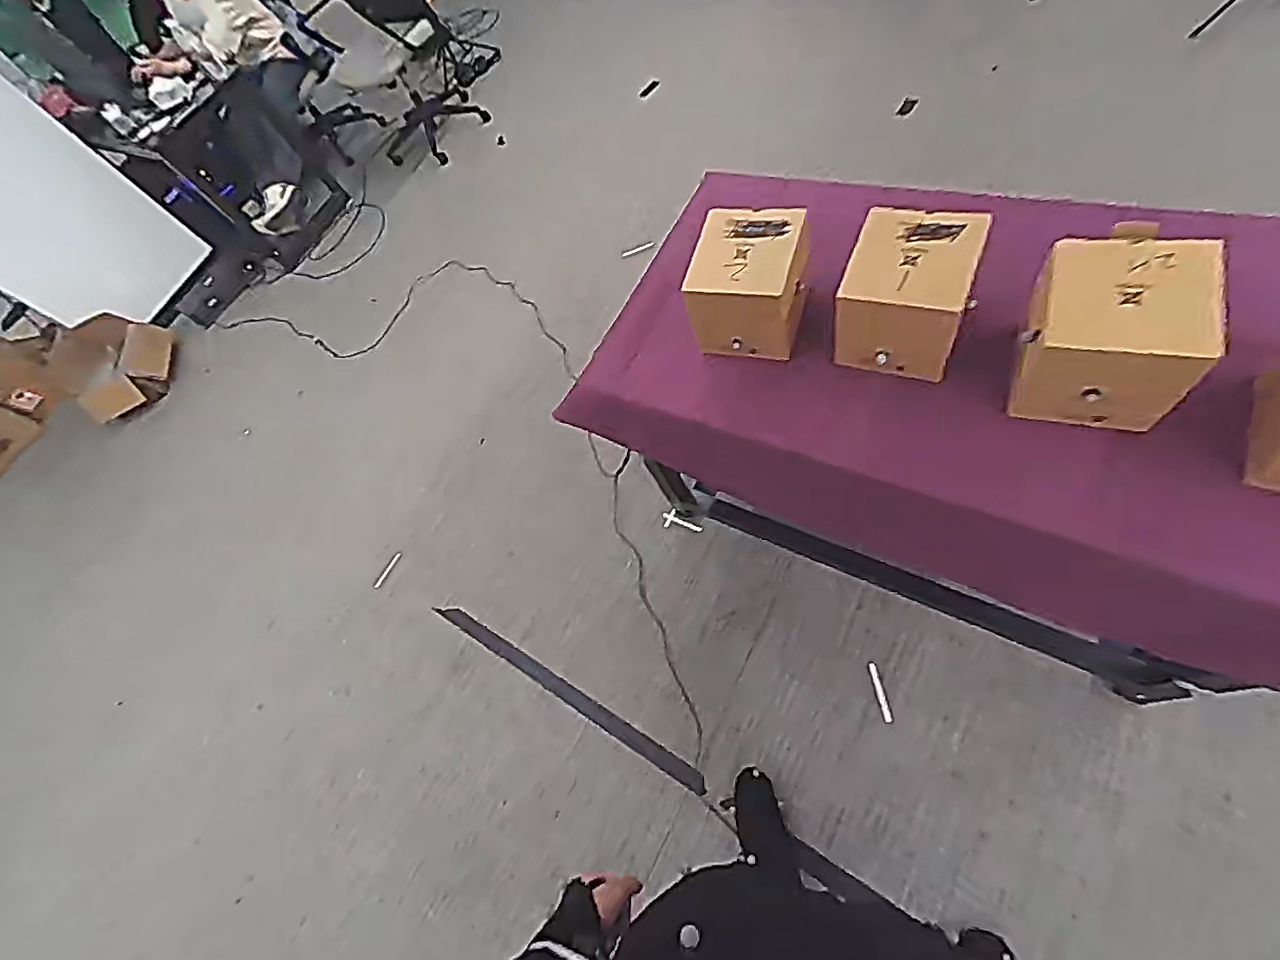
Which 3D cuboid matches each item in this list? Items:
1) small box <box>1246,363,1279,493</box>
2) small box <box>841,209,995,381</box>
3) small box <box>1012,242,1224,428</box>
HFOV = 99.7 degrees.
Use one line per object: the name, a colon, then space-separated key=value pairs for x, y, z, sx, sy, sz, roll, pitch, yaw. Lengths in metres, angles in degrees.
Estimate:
small box: x=0.837 y=-0.078 z=0.598 sx=0.168 sy=0.176 sz=0.179 roll=18 pitch=72 yaw=27
small box: x=0.420 y=-0.285 z=0.843 sx=0.168 sy=0.176 sz=0.179 roll=18 pitch=73 yaw=26
small box: x=0.623 y=-0.189 z=0.725 sx=0.168 sy=0.176 sz=0.179 roll=13 pitch=70 yaw=23
